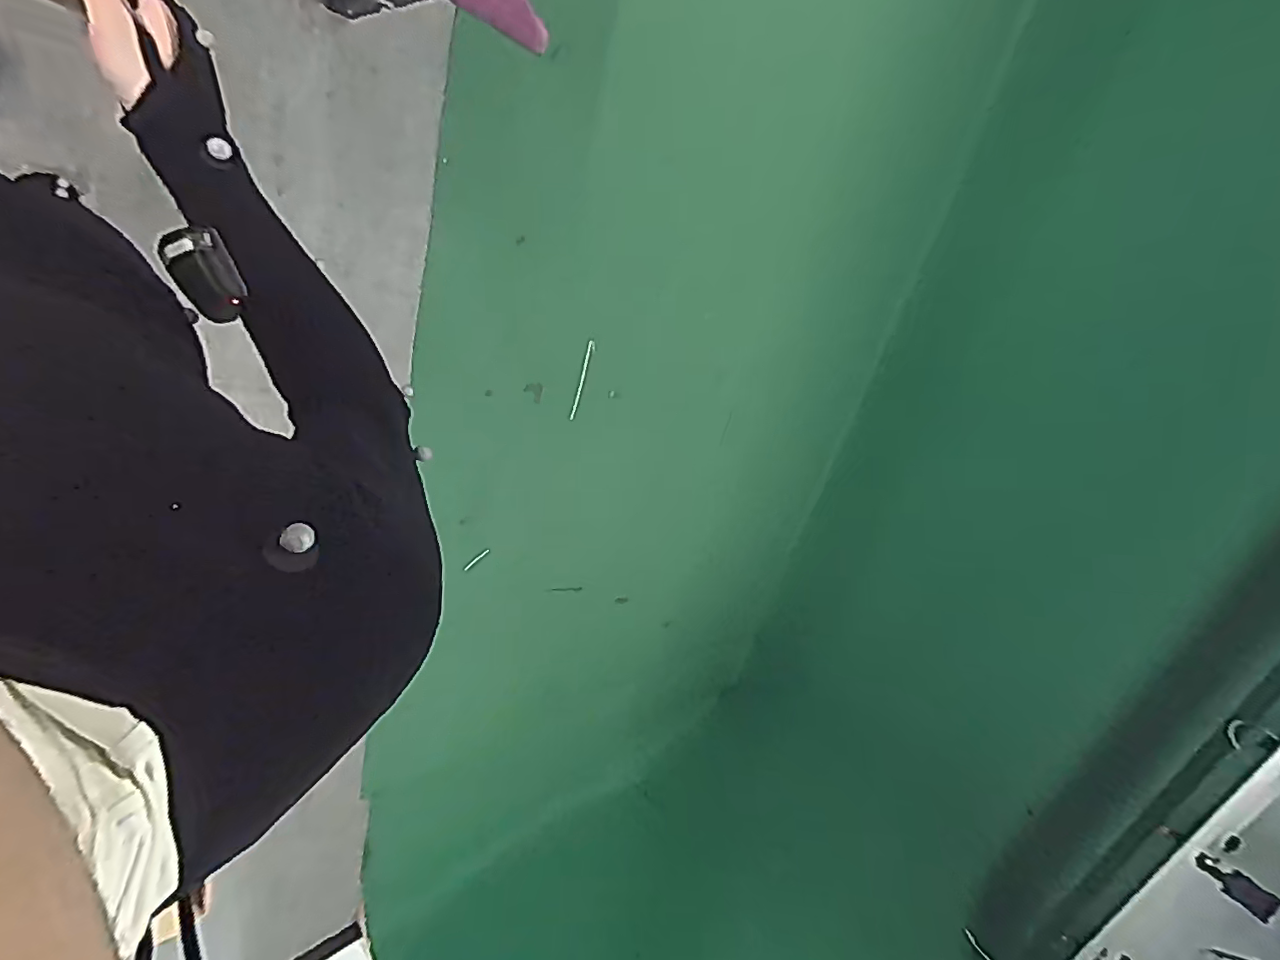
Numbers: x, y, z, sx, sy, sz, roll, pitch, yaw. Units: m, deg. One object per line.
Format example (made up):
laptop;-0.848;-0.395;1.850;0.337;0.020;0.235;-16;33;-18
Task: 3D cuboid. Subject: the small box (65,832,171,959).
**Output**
small box;-1.191;0.961;1.234;0.168;0.176;0.179;-4;119;-47
